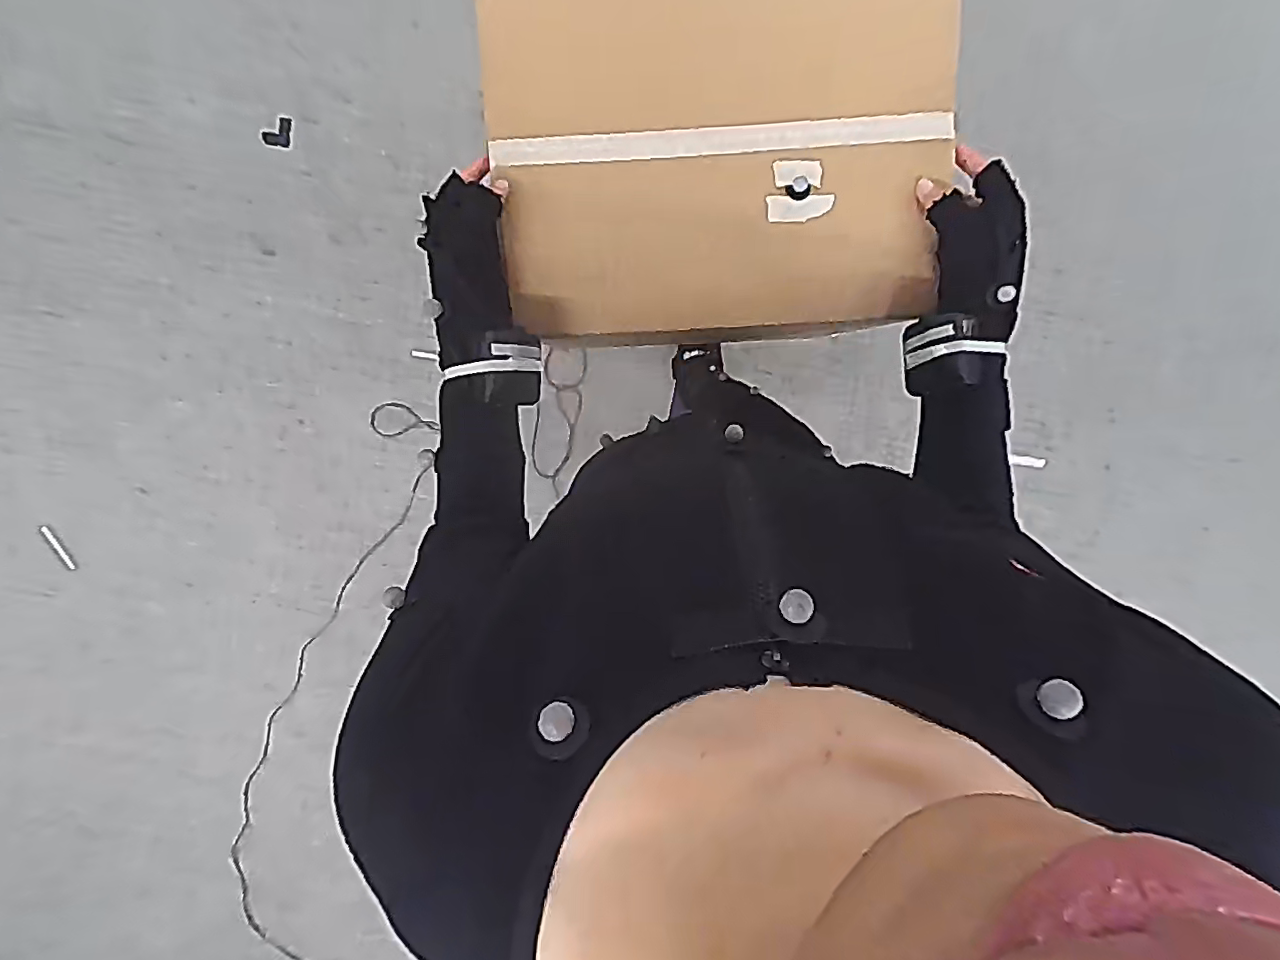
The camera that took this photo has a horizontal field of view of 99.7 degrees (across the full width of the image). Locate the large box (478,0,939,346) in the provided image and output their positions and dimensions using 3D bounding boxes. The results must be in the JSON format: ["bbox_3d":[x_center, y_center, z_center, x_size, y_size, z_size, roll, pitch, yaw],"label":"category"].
[{"bbox_3d":[0.064,-0.336,0.631,0.408,0.320,0.320,-3,101,0],"label":"large box"}]
